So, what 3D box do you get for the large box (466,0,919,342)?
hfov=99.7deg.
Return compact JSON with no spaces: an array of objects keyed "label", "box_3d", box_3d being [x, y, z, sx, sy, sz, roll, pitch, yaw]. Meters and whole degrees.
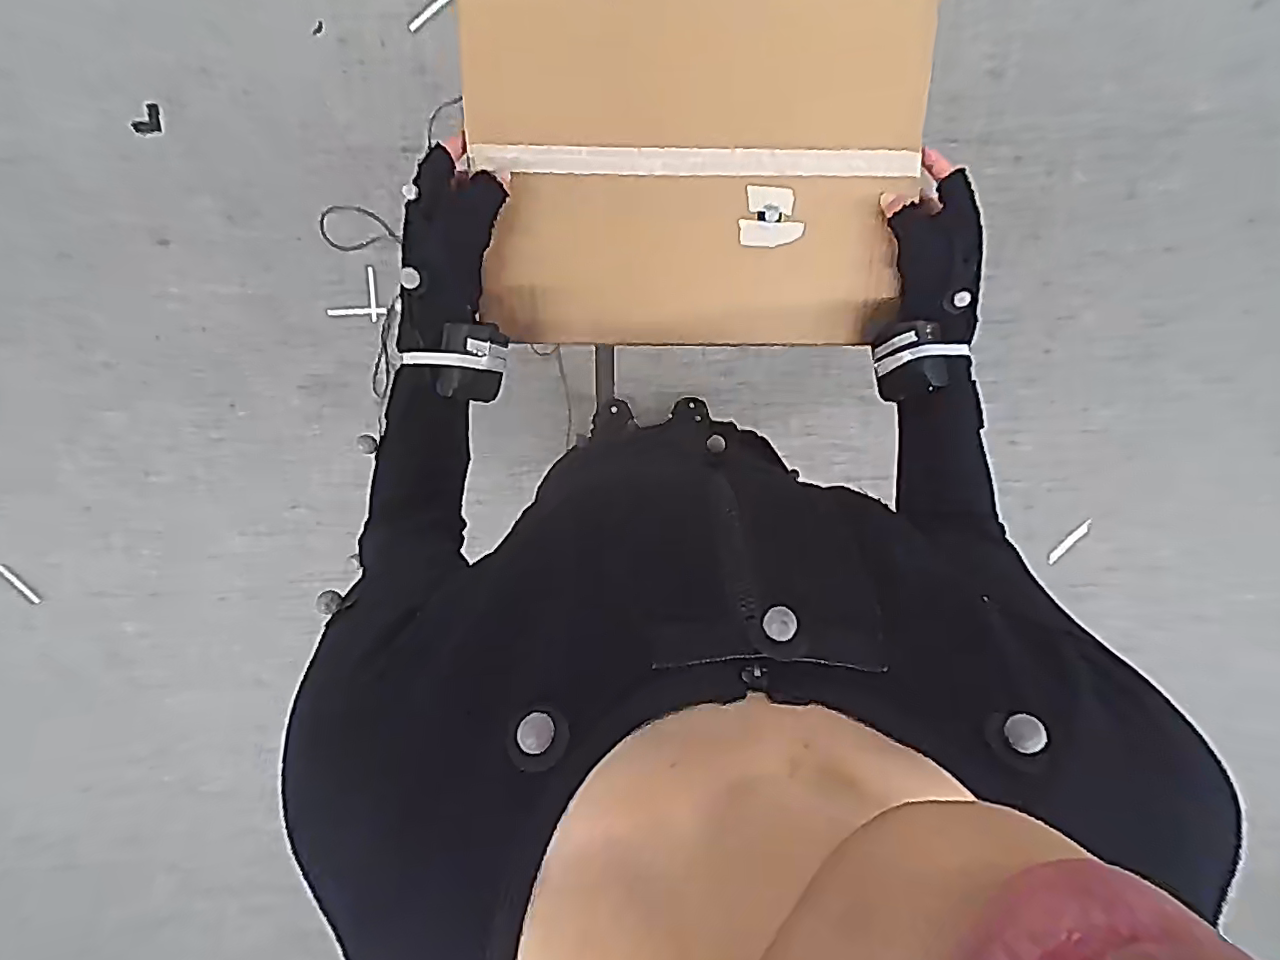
[{"label":"large box","box_3d":[0.042,-0.330,0.642,0.408,0.320,0.320,-1,105,-3]}]
